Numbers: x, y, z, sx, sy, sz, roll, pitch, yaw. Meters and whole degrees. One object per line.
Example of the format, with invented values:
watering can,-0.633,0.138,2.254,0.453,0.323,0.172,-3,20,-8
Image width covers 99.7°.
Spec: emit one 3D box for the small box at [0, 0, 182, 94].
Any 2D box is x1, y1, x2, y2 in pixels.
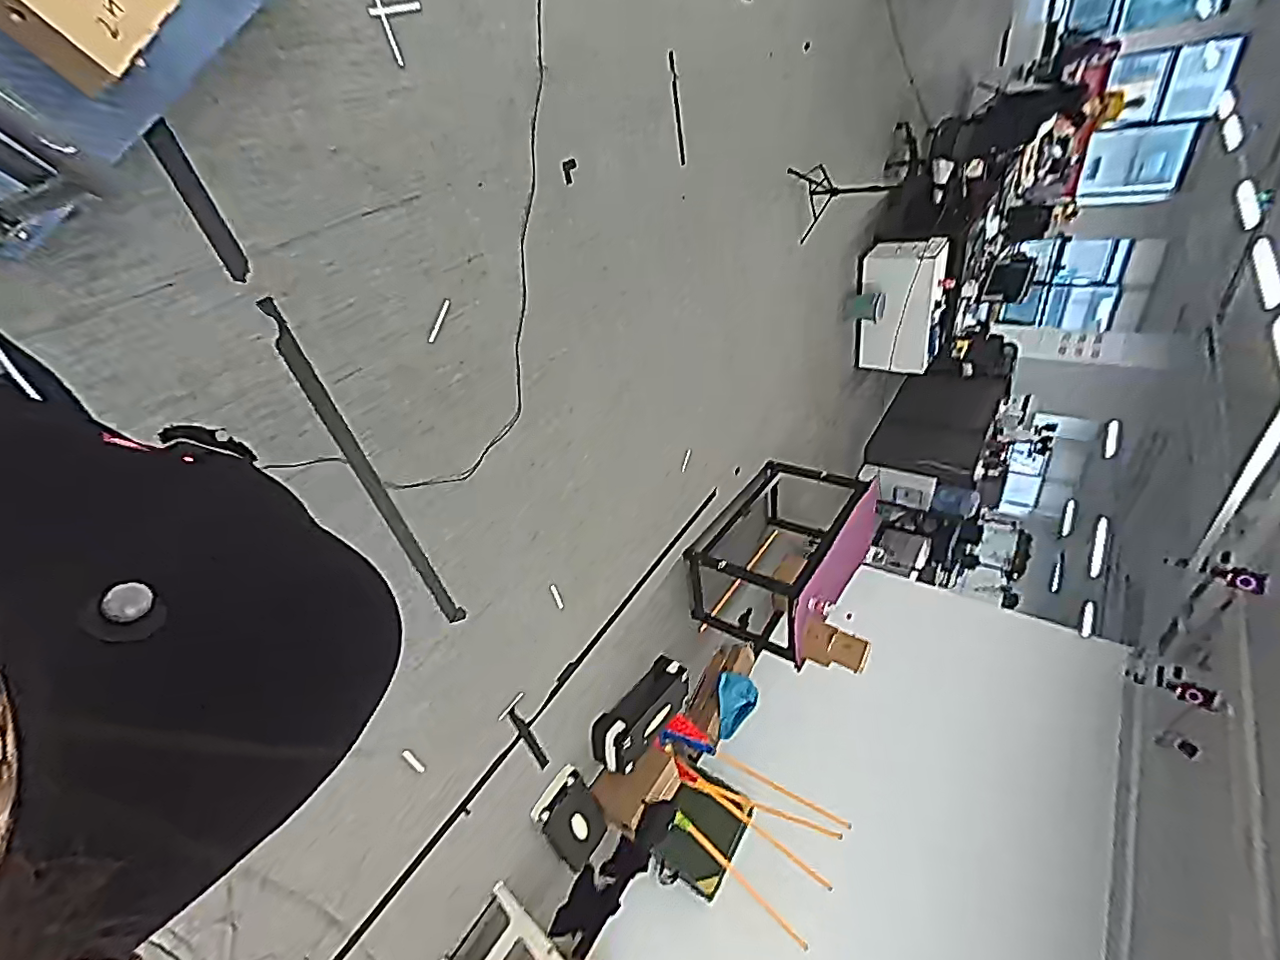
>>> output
small box,-0.821,-0.697,0.770,0.179,0.176,0.168,41,70,-53
